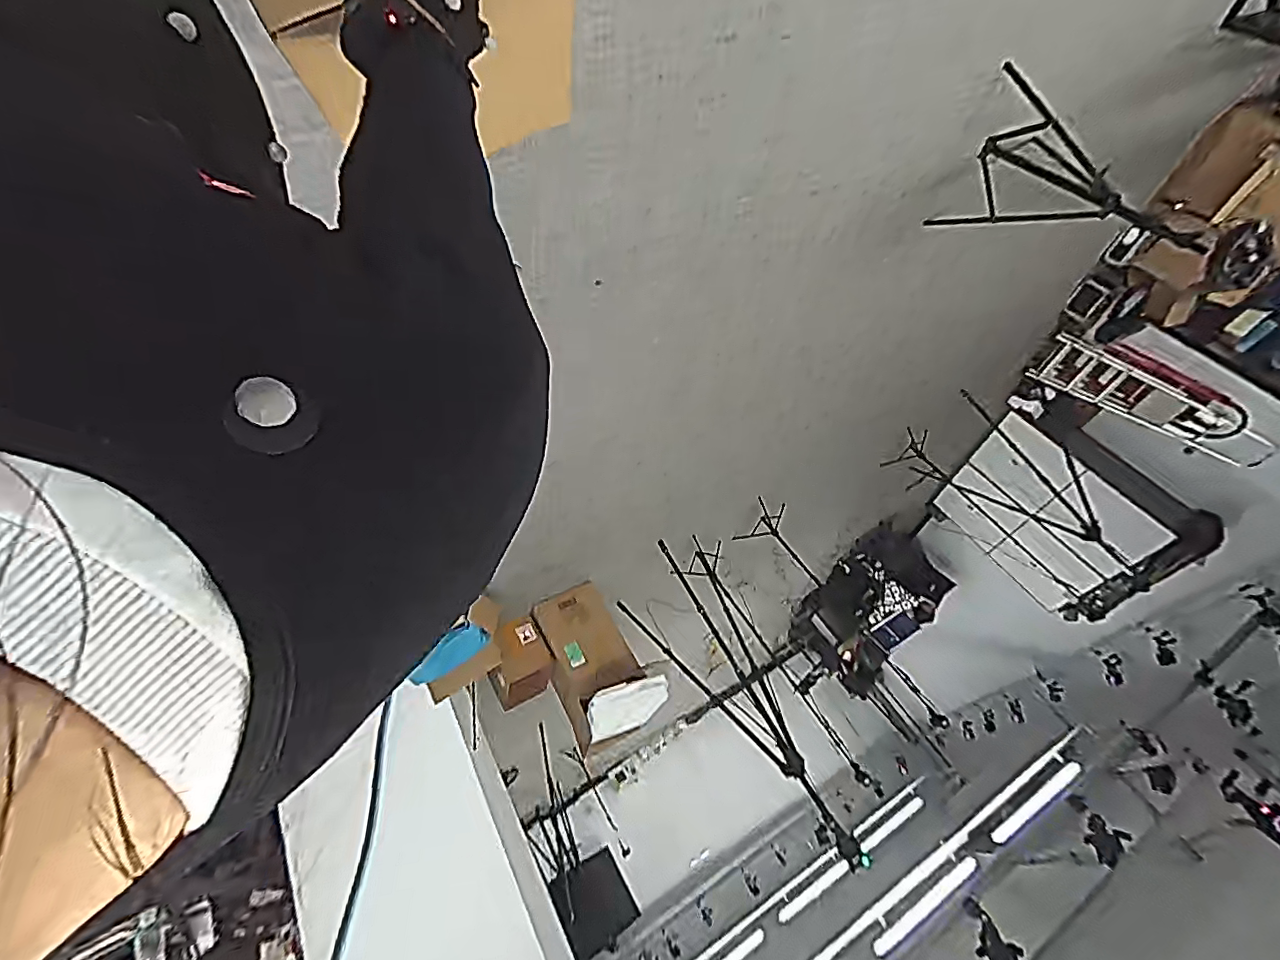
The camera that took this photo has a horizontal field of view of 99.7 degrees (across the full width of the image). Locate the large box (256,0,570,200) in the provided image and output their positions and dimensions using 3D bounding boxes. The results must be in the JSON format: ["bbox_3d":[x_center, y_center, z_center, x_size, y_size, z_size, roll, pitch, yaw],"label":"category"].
[{"bbox_3d":[-0.312,-0.649,0.655,0.320,0.408,0.320,-28,-175,-8],"label":"large box"}]
